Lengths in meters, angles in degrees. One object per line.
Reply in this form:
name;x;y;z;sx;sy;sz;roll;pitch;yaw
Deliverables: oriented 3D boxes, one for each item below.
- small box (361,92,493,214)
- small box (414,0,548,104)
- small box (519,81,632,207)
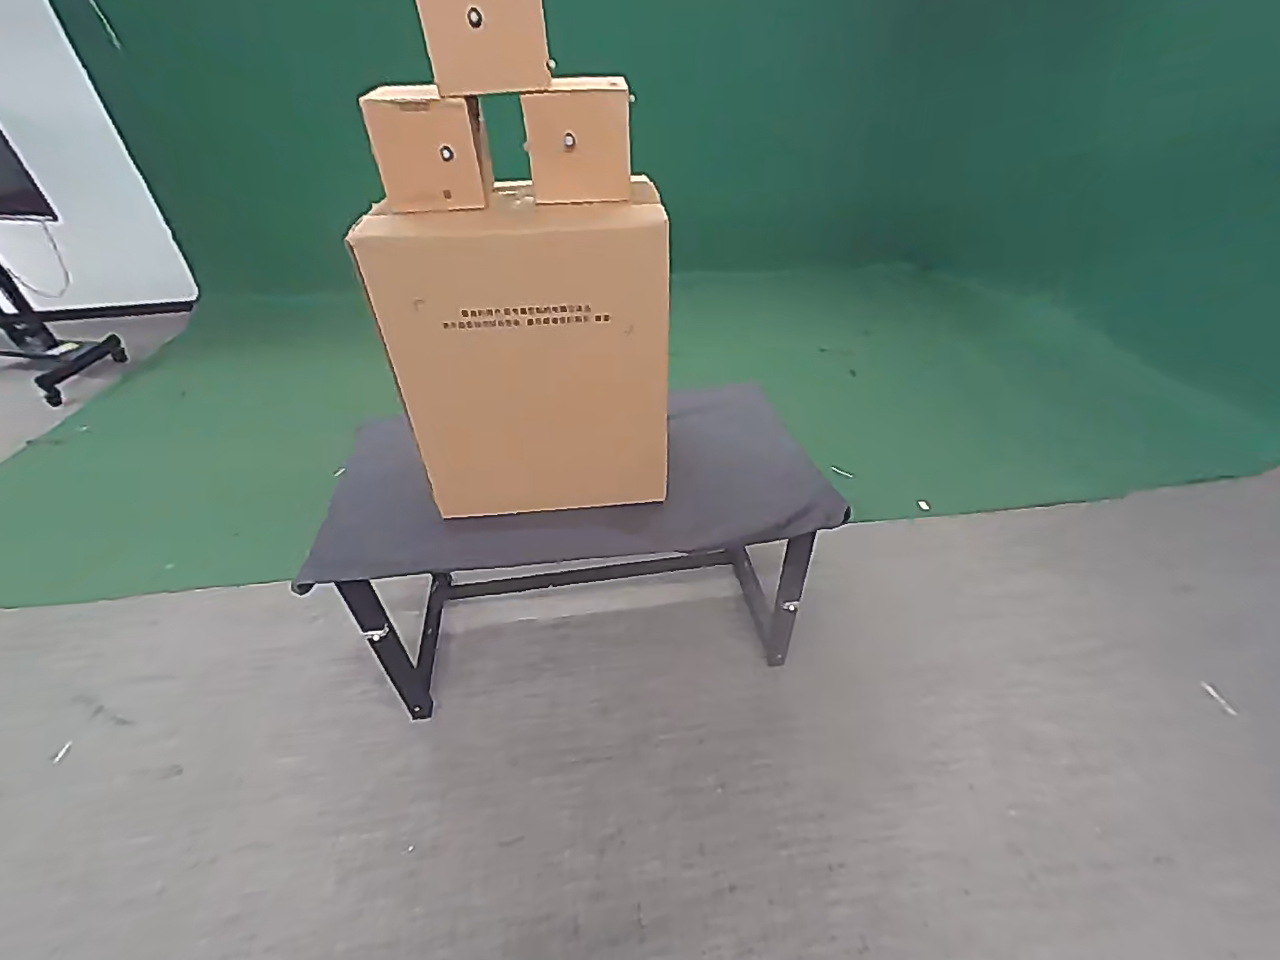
small box;-0.366;-0.585;0.968;0.168;0.176;0.179;-4;40;-5
small box;-0.245;-0.720;0.866;0.179;0.176;0.168;-7;42;-2
small box;-0.111;-0.609;0.982;0.179;0.176;0.168;-5;42;-1
